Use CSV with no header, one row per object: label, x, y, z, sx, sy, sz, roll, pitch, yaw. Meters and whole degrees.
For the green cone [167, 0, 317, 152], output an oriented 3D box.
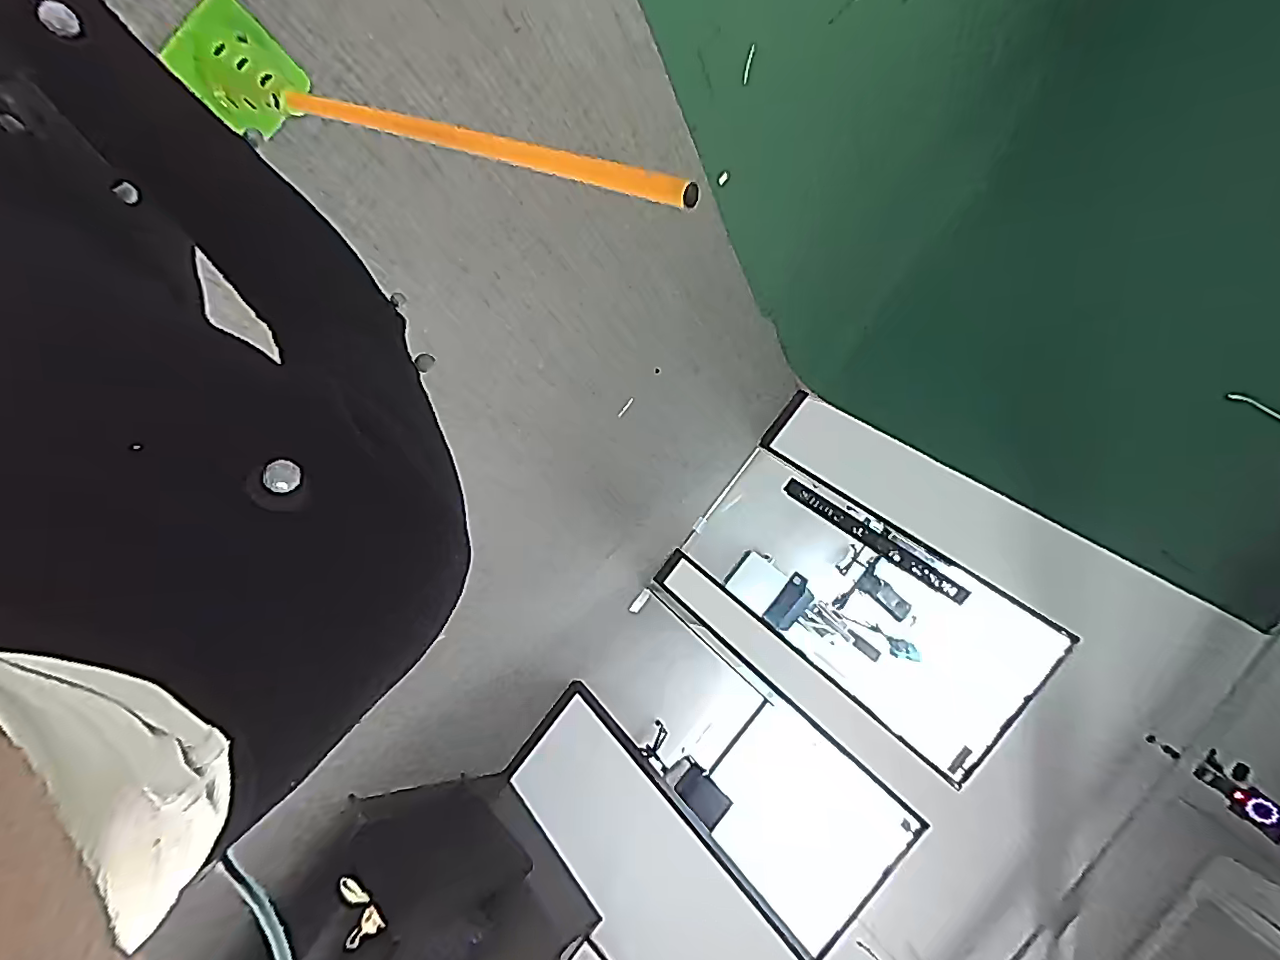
green cone,-0.688,-0.732,1.010,0.200,0.368,0.202,-52,147,-1
